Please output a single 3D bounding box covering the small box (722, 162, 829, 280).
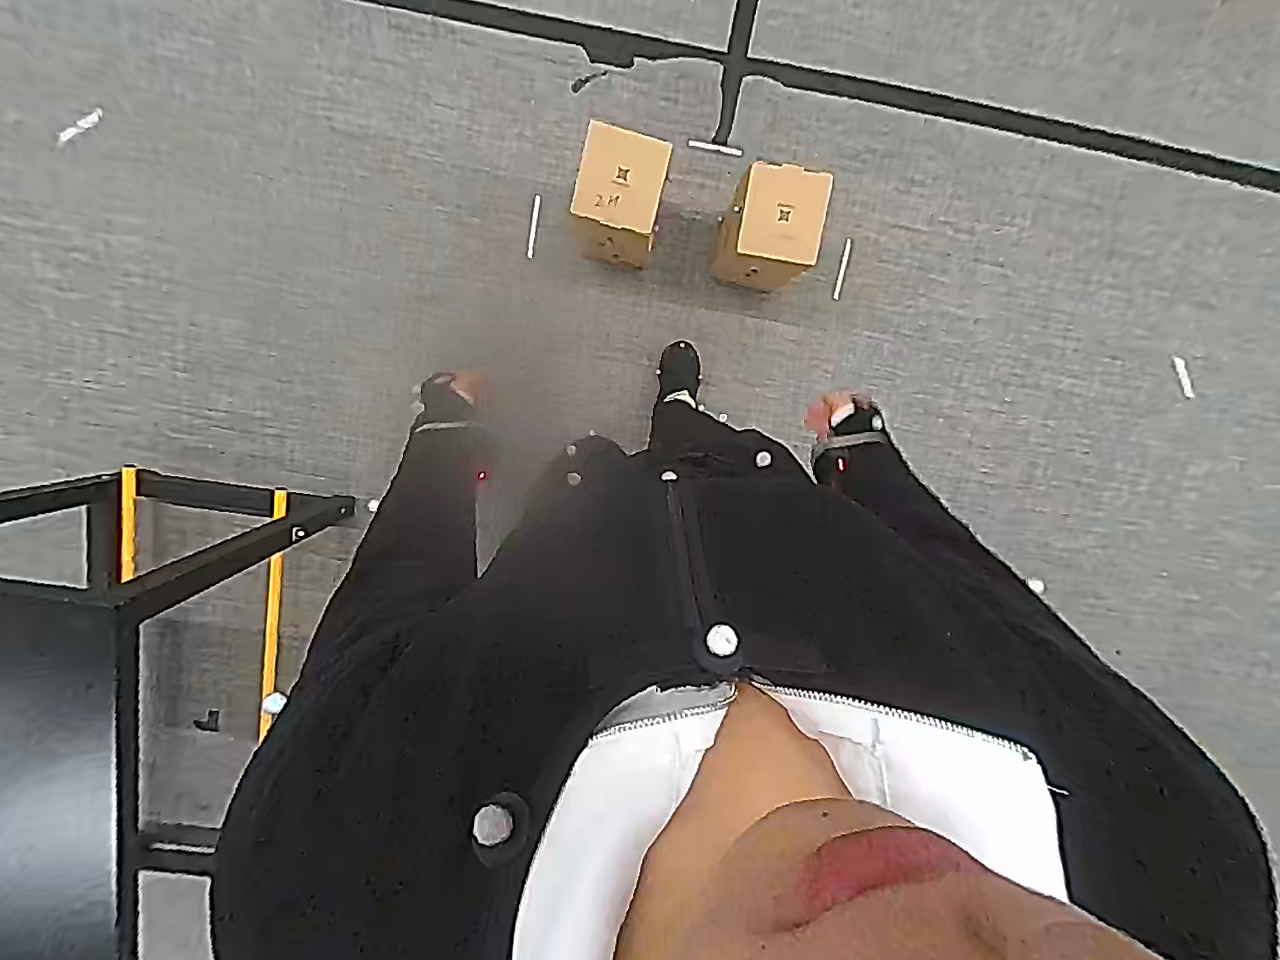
[{"bbox_3d":[0.279,-0.542,1.154,0.168,0.176,0.179,8,102,-3],"label":"small box"}]

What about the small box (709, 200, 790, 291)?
[{"bbox_3d":[0.277,-0.570,1.314,0.179,0.176,0.168,12,100,-6],"label":"small box"}]

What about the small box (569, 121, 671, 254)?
[{"bbox_3d":[-0.044,-0.595,1.125,0.168,0.176,0.179,14,100,-4],"label":"small box"}]

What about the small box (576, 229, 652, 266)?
[{"bbox_3d":[-0.052,-0.623,1.289,0.168,0.176,0.179,9,101,-4],"label":"small box"}]
